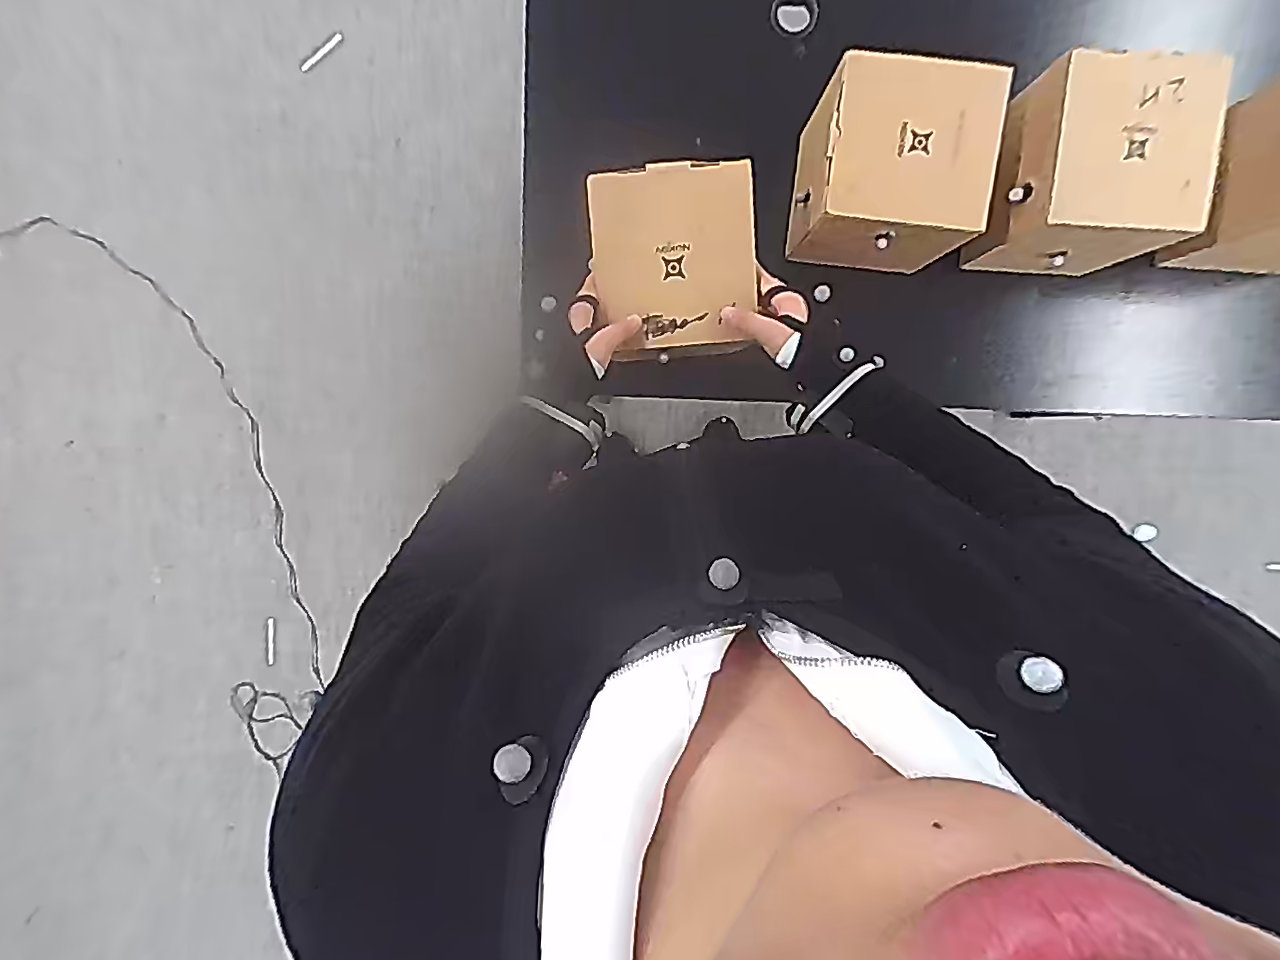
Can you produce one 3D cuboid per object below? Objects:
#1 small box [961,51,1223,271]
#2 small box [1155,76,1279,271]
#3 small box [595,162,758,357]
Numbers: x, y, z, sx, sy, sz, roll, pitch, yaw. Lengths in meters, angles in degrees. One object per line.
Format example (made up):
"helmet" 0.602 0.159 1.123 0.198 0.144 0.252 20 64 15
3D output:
"small box" 0.517 -0.363 0.649 0.168 0.176 0.179 4 95 1
"small box" 0.778 -0.359 0.642 0.179 0.176 0.168 4 96 0
"small box" 0.041 -0.243 0.638 0.168 0.176 0.179 -3 100 3
